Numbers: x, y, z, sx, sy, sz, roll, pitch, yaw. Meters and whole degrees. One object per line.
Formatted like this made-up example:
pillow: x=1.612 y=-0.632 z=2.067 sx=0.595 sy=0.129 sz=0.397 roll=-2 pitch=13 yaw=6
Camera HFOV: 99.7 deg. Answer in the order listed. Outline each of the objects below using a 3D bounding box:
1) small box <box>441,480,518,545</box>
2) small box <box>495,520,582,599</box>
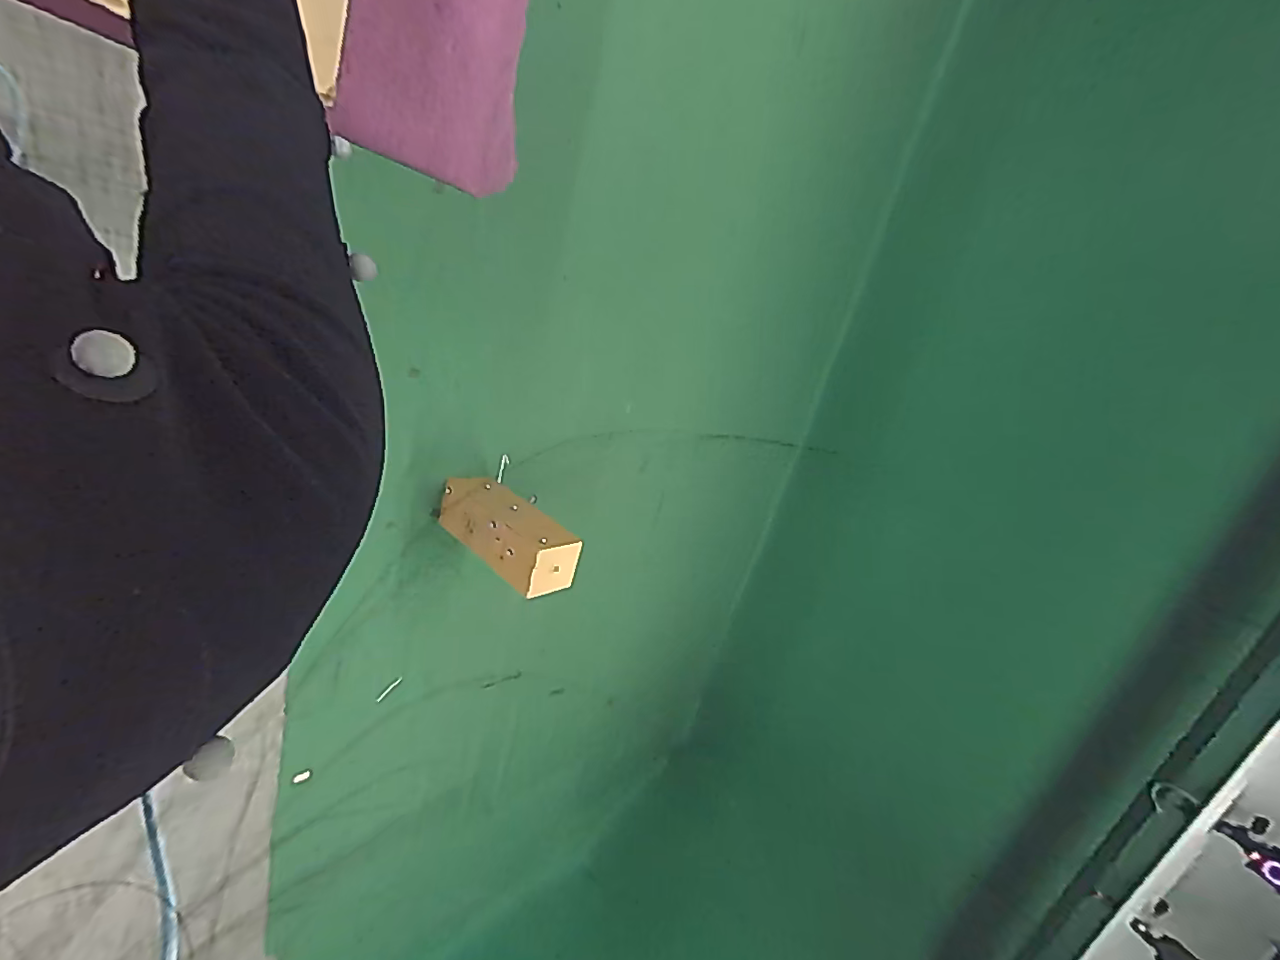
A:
small box: x=-0.550 y=0.105 z=1.837 sx=0.179 sy=0.176 sz=0.168 roll=-3 pitch=116 yaw=-51
small box: x=-0.312 y=0.235 z=1.653 sx=0.179 sy=0.176 sz=0.168 roll=-6 pitch=119 yaw=-50
